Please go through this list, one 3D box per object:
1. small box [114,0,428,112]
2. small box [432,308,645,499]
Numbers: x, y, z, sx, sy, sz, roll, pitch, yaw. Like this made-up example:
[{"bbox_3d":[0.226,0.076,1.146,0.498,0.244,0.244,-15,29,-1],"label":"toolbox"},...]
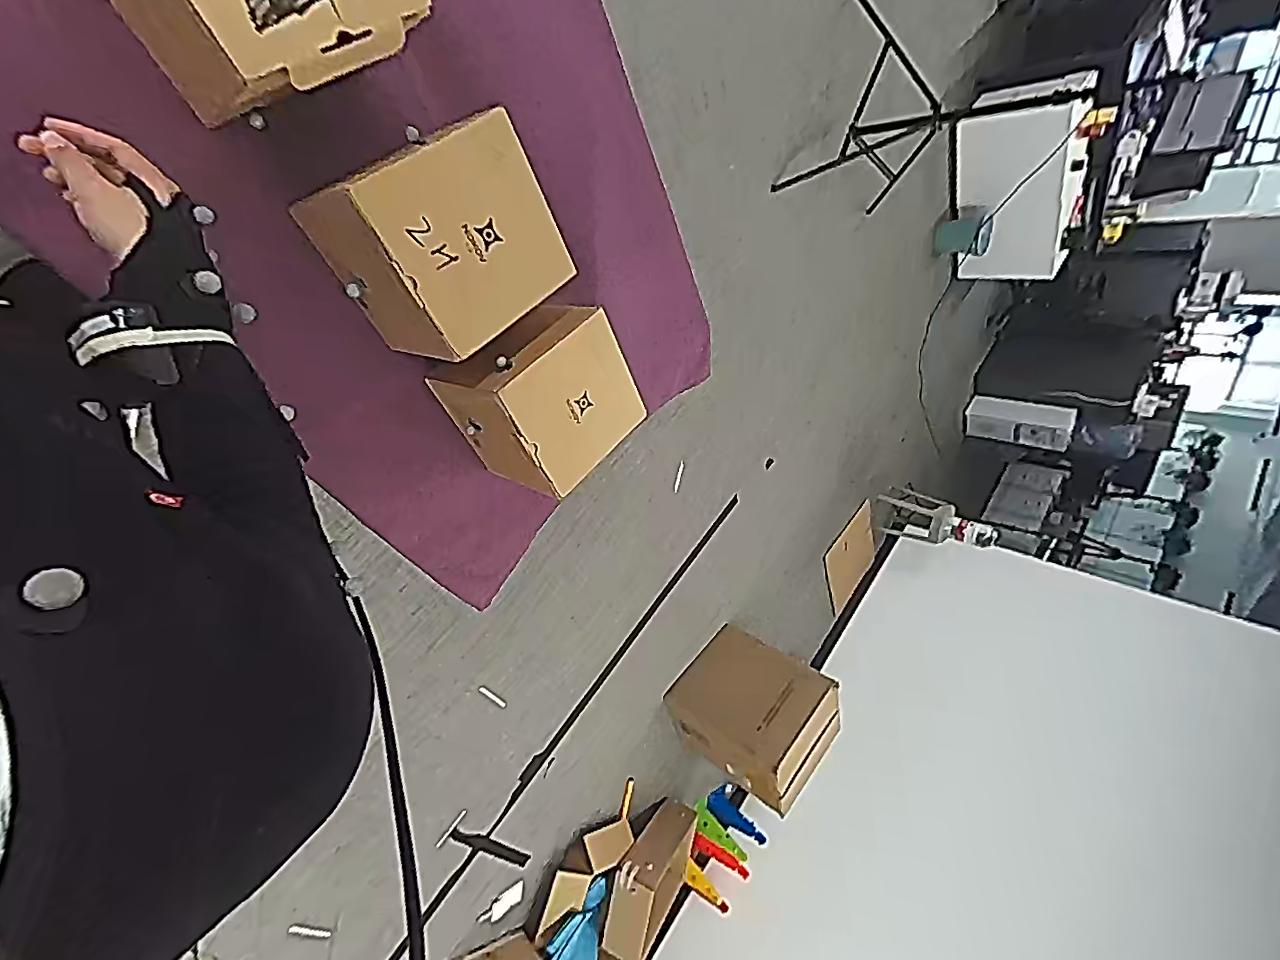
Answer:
[{"bbox_3d":[-0.303,-0.405,0.403,0.168,0.176,0.179,-46,132,-24],"label":"small box"},{"bbox_3d":[-0.129,-0.109,0.700,0.179,0.176,0.168,-47,133,-25],"label":"small box"}]
